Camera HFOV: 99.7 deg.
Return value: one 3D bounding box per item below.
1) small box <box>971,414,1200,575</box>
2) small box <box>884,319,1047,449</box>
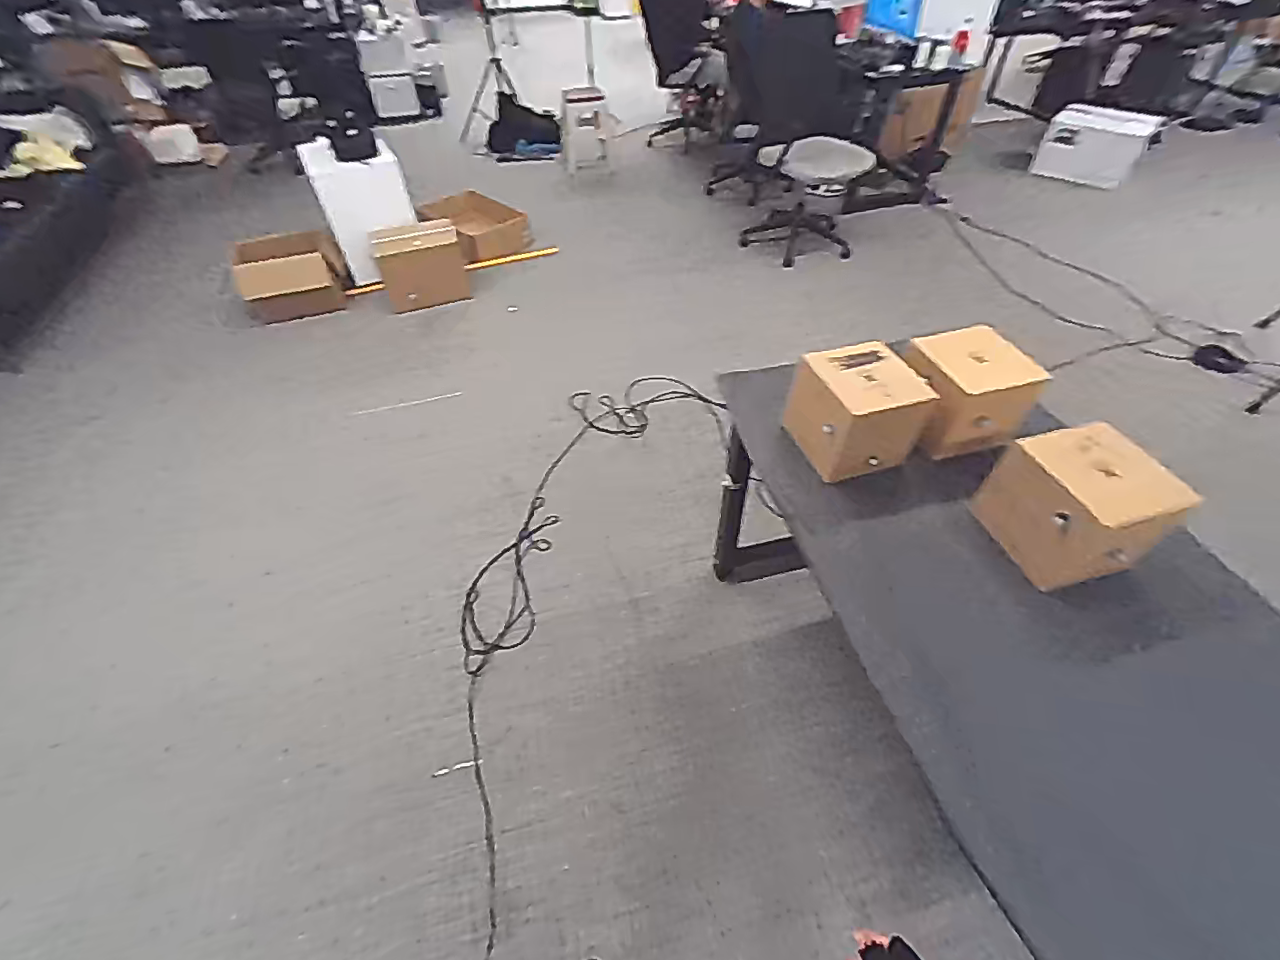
[{"bbox_3d":[0.667,0.028,0.836,0.168,0.176,0.179,-12,49,-9],"label":"small box"},{"bbox_3d":[0.602,-0.176,1.027,0.168,0.176,0.179,-13,49,-9],"label":"small box"}]
